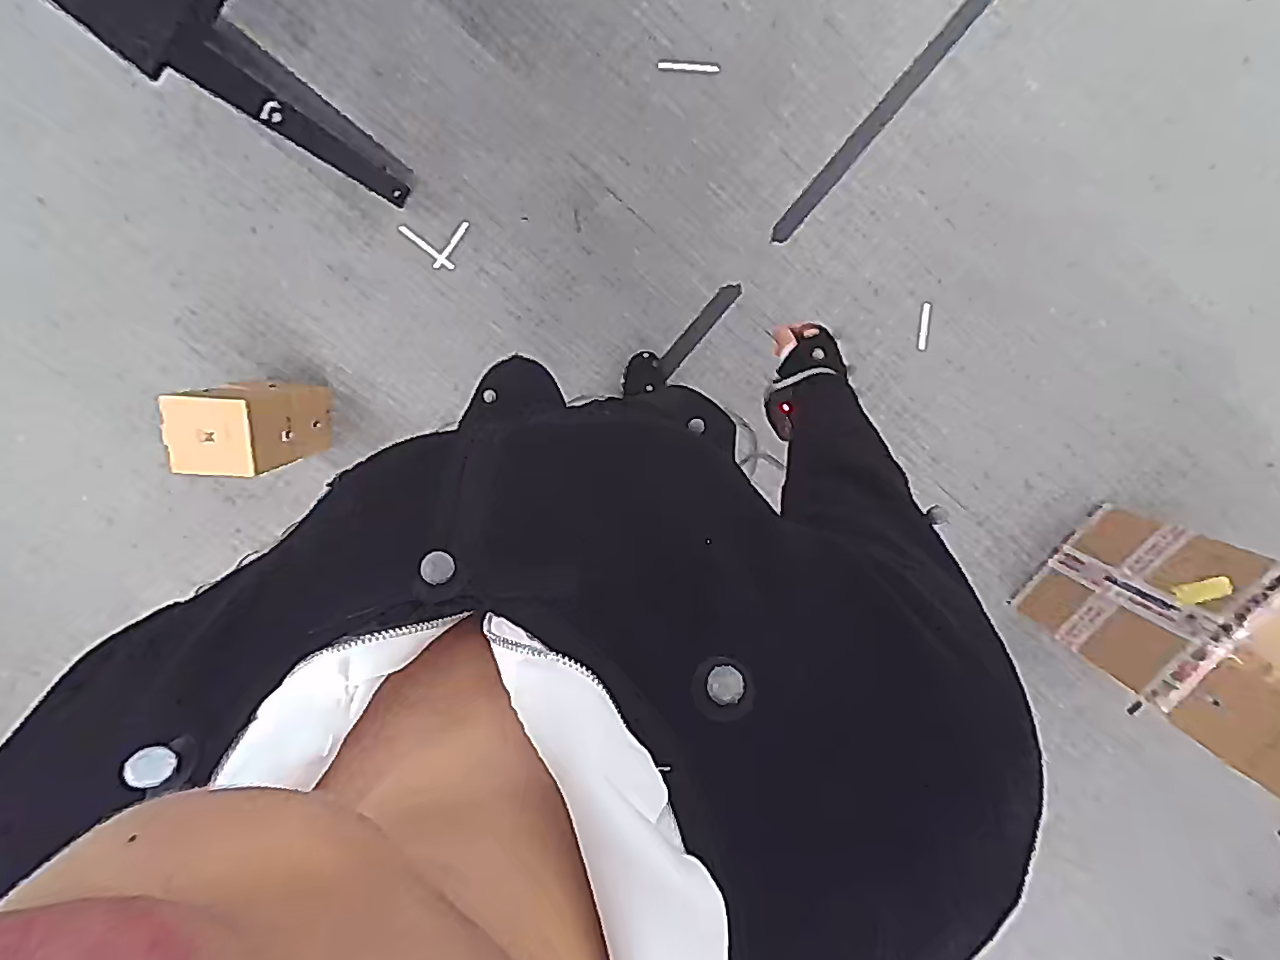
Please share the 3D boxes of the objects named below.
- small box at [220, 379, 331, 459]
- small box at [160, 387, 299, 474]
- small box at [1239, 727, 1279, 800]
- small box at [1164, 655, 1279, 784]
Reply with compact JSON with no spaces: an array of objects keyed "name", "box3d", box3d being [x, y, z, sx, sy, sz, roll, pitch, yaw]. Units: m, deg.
[{"name":"small box","box3d":[-0.904,-0.158,1.357,0.179,0.176,0.168,7,103,-3]},{"name":"small box","box3d":[-0.898,-0.115,1.200,0.179,0.176,0.168,2,105,-3]},{"name":"small box","box3d":[1.224,0.527,0.927,0.168,0.176,0.179,31,102,-5]},{"name":"small box","box3d":[1.232,0.495,1.090,0.168,0.176,0.179,31,102,-5]}]
